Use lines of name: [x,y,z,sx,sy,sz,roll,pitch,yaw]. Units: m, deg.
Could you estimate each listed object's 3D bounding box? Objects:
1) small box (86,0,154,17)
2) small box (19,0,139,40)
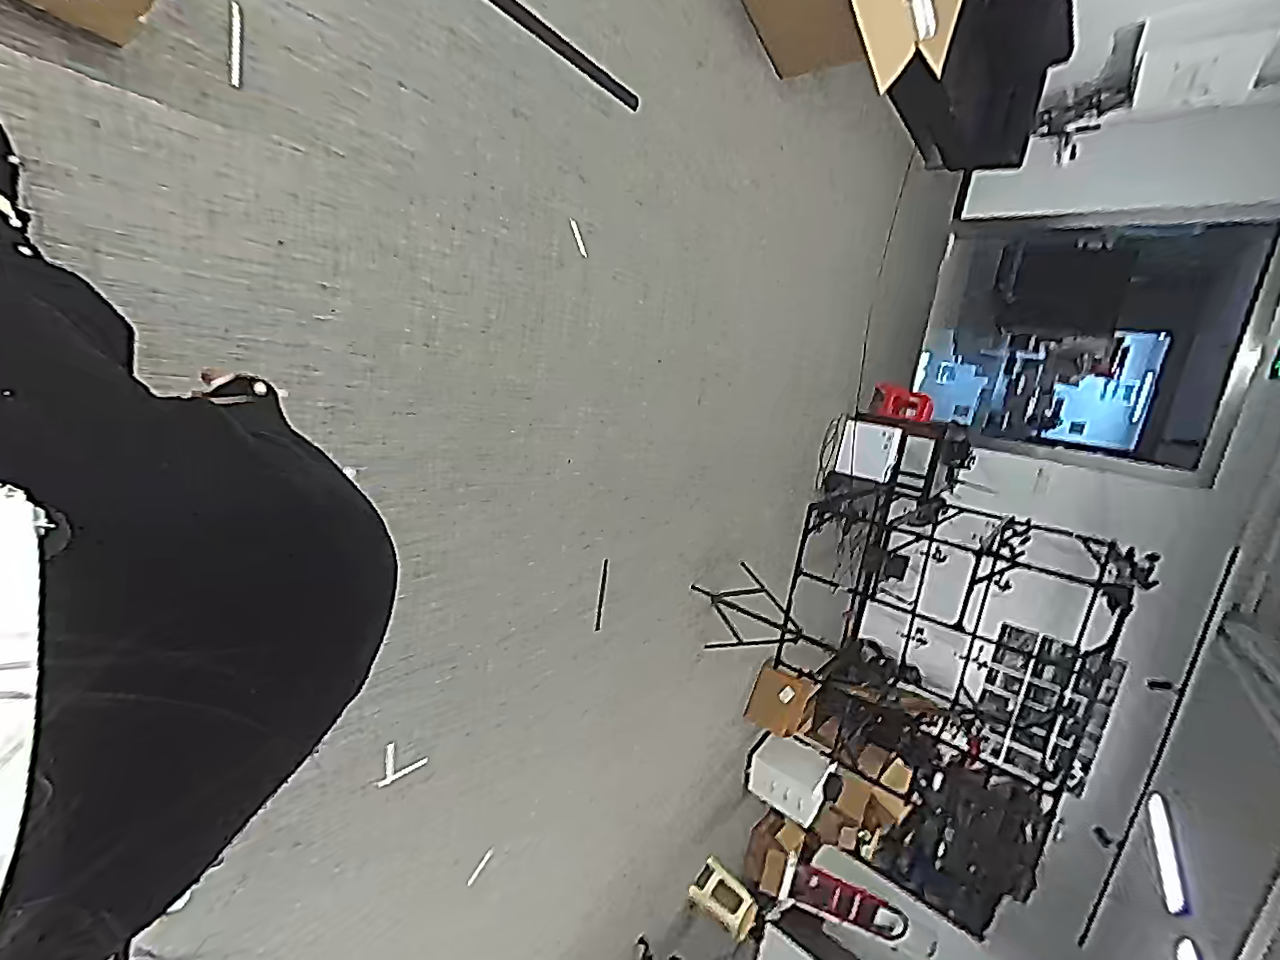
small box: [-0.810,-0.814,0.764,0.168,0.176,0.179,-7,111,-50]
small box: [-0.932,-0.853,0.864,0.179,0.176,0.168,-1,105,-54]
